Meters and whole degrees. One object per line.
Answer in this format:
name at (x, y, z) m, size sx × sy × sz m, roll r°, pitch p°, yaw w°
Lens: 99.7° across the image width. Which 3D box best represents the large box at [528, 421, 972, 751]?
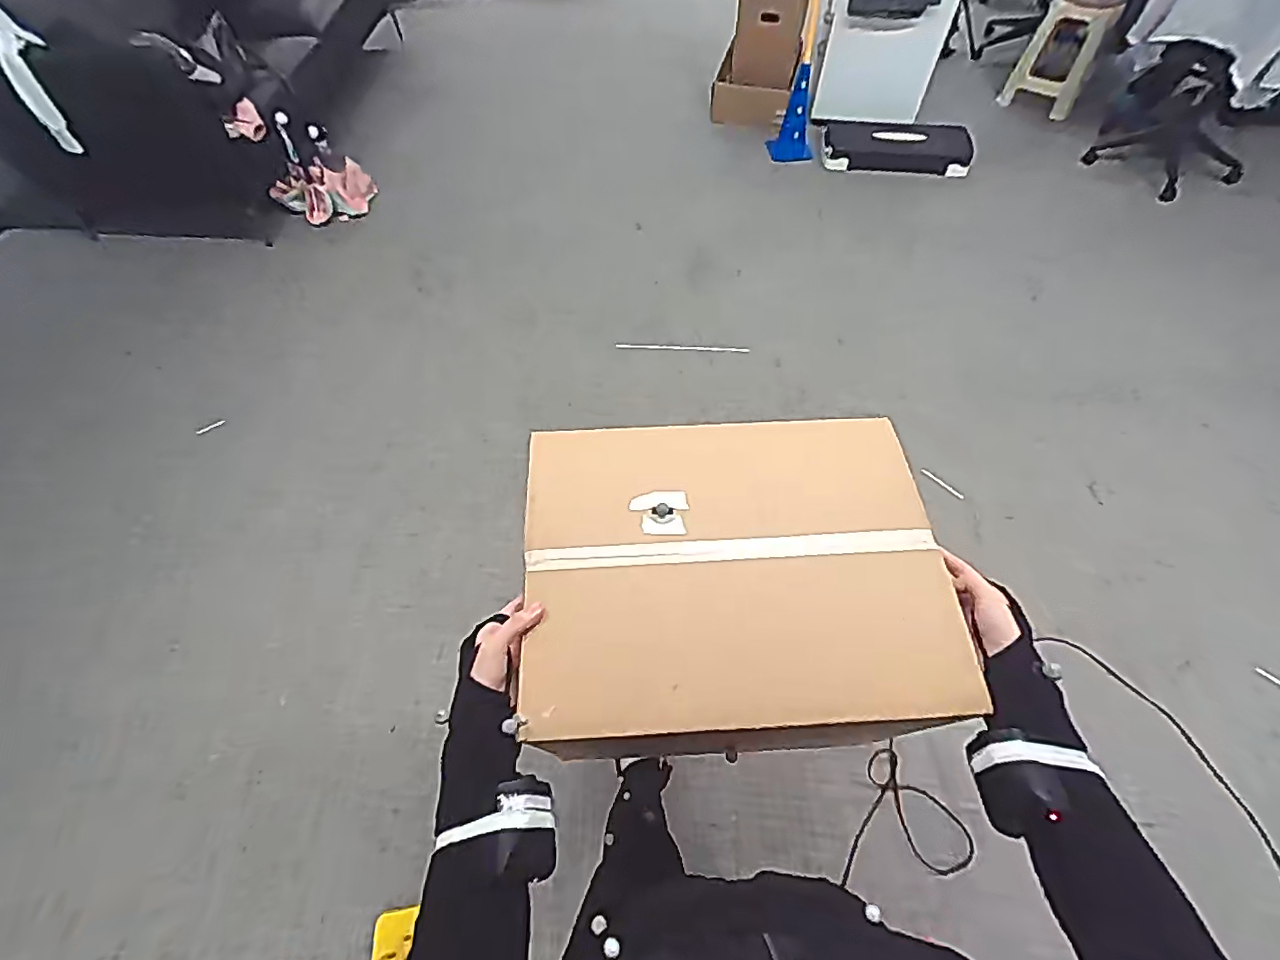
large box at (0.094, 0.150, 0.677) m, size 0.408 × 0.320 × 0.320 m, roll -3°, pitch 59°, yaw -1°
